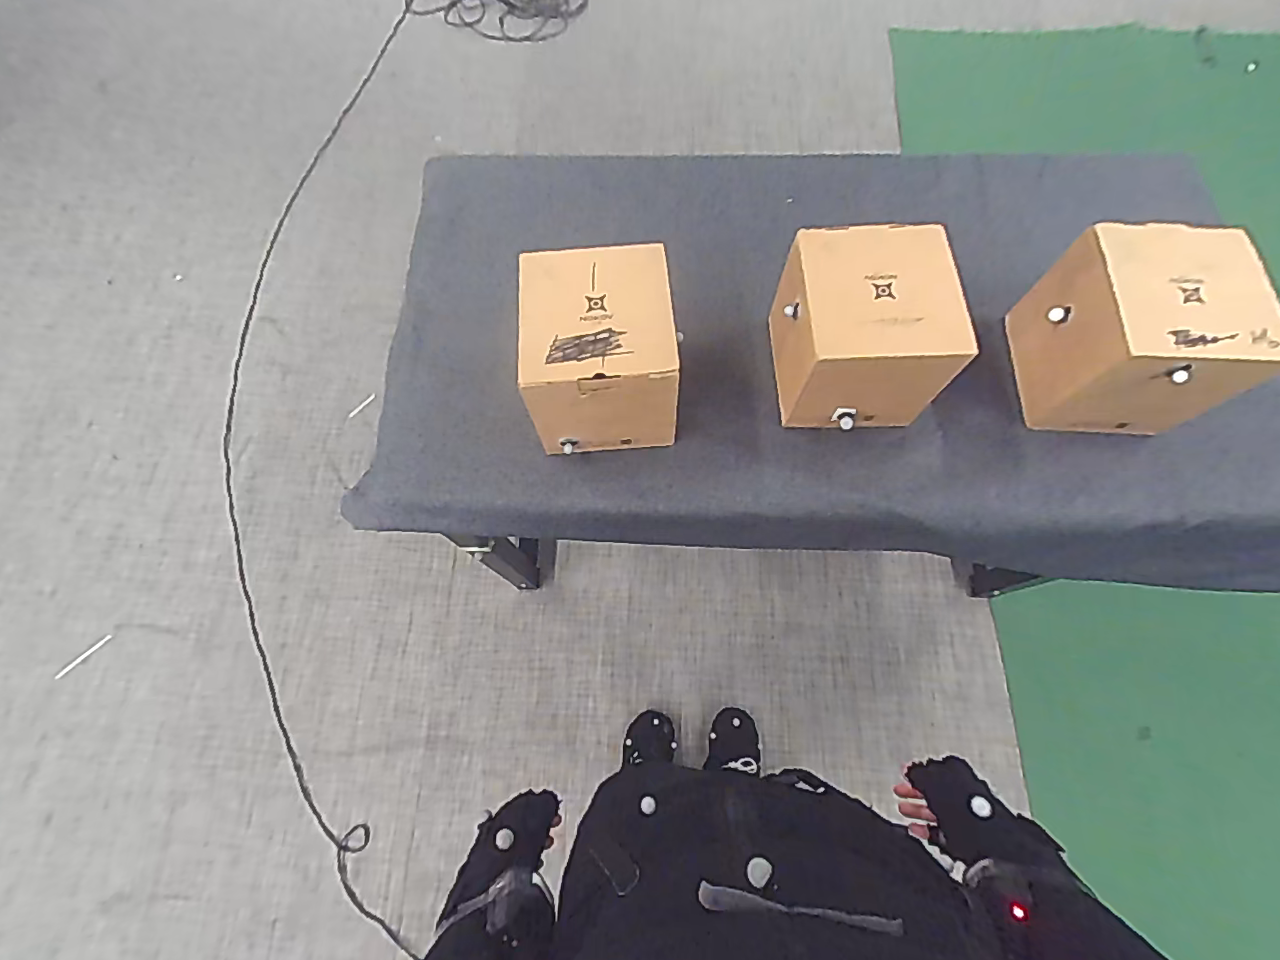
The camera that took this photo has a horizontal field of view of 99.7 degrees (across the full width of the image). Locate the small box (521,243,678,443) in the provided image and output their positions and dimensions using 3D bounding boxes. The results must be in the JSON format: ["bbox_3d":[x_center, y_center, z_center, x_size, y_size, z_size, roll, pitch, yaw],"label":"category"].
[{"bbox_3d":[-0.043,-0.153,0.655,0.168,0.176,0.179,-4,67,-1],"label":"small box"}]

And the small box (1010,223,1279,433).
[{"bbox_3d":[0.582,-0.175,0.648,0.168,0.176,0.179,3,69,4],"label":"small box"}]

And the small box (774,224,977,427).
[{"bbox_3d":[0.267,-0.180,0.661,0.168,0.176,0.179,-2,70,2],"label":"small box"}]
